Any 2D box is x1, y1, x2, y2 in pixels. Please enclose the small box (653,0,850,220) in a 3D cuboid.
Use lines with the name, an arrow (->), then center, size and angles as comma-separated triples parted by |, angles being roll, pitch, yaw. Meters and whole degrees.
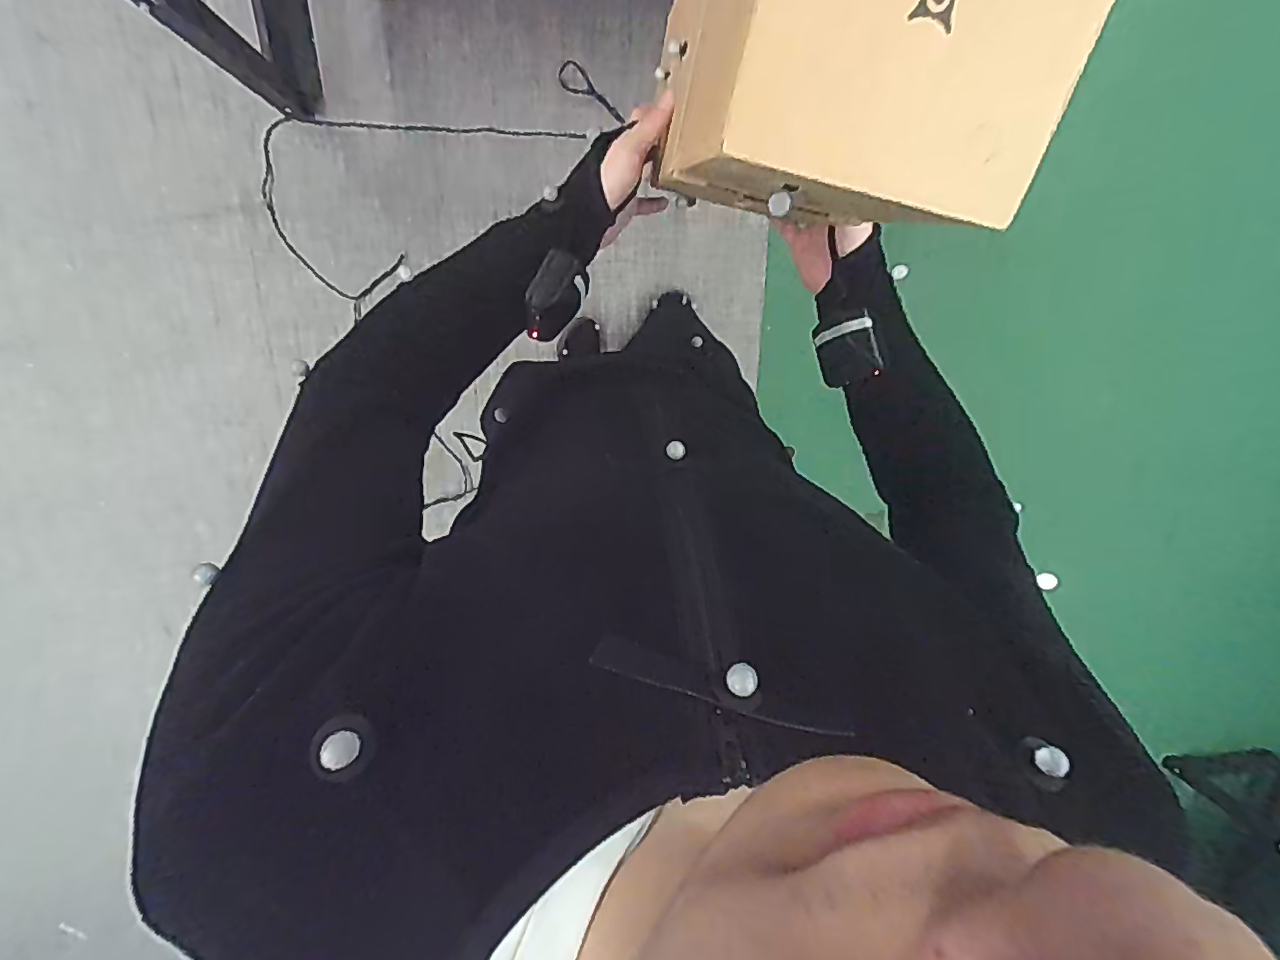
small box -> 0.110, -0.335, 0.462 | 0.168, 0.176, 0.179 | 9, 115, -9

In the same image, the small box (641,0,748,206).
small box -> 0.100, -0.418, 0.603 | 0.168, 0.176, 0.179 | 9, 116, -9

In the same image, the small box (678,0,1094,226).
small box -> 0.124, -0.262, 0.317 | 0.168, 0.176, 0.179 | 10, 114, -9
